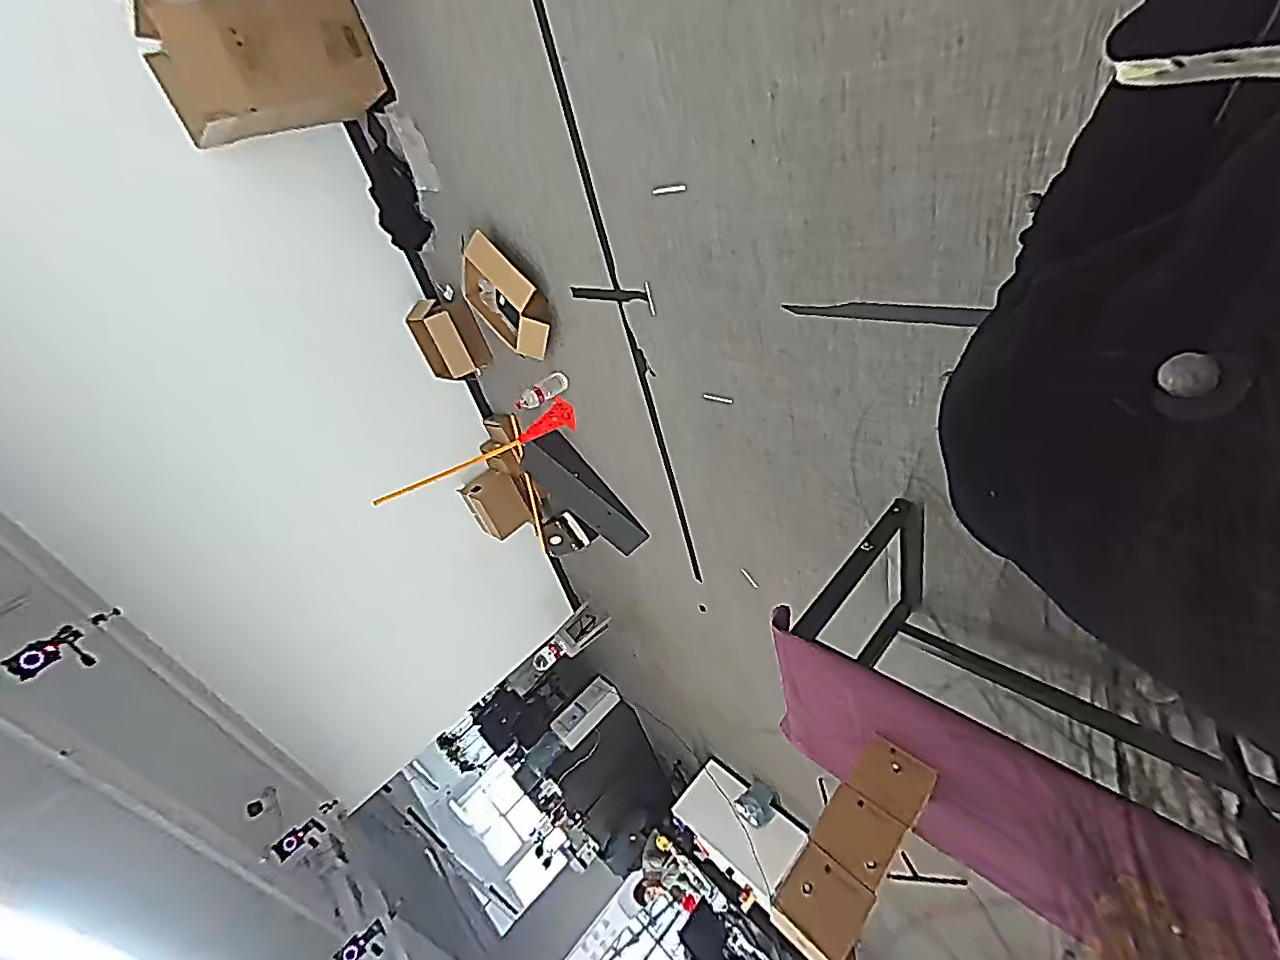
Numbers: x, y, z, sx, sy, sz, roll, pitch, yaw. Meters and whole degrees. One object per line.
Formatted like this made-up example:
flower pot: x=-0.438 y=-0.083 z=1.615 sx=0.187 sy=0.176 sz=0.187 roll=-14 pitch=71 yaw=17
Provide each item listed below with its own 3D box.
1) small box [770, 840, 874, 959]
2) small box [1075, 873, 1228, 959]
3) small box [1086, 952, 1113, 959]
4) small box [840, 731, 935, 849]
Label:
small box: x=0.414 y=0.973 z=1.239 sx=0.168 sy=0.176 sz=0.179 roll=28 pitch=145 yaw=38
small box: x=0.977 y=0.914 z=1.039 sx=0.168 sy=0.176 sz=0.179 roll=23 pitch=140 yaw=42
small box: x=0.864 y=1.004 z=0.960 sx=0.168 sy=0.176 sz=0.179 roll=24 pitch=141 yaw=41
small box: x=0.639 y=0.798 z=1.399 sx=0.168 sy=0.176 sz=0.179 roll=25 pitch=142 yaw=38
